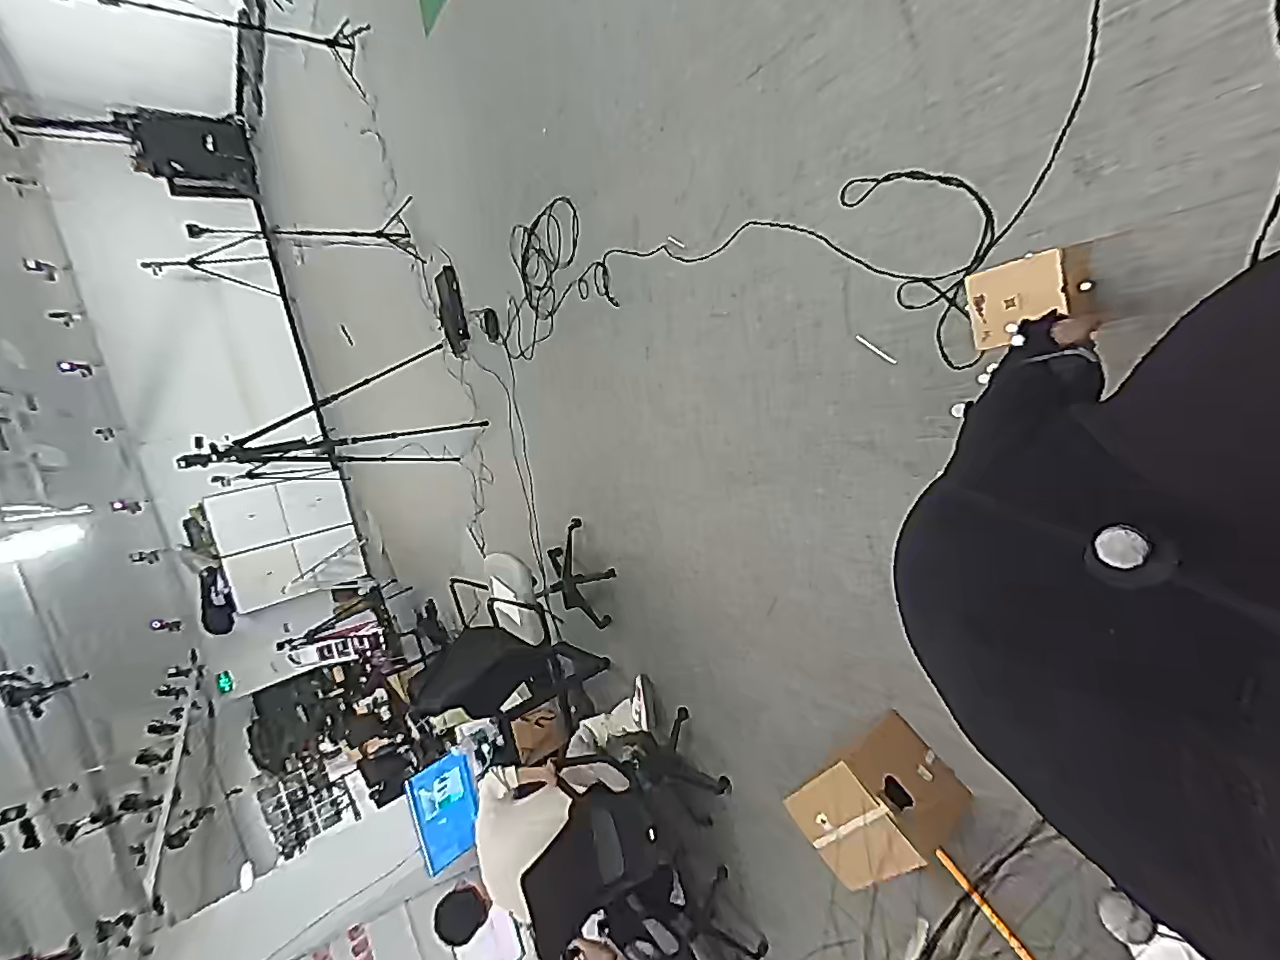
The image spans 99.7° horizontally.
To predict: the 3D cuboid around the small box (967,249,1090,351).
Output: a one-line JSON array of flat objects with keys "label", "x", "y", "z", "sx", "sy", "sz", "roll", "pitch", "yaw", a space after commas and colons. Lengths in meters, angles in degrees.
[{"label": "small box", "x": 0.845, "y": -0.387, "z": 1.171, "sx": 0.179, "sy": 0.176, "sz": 0.168, "roll": -6, "pitch": 99, "yaw": 52}]
